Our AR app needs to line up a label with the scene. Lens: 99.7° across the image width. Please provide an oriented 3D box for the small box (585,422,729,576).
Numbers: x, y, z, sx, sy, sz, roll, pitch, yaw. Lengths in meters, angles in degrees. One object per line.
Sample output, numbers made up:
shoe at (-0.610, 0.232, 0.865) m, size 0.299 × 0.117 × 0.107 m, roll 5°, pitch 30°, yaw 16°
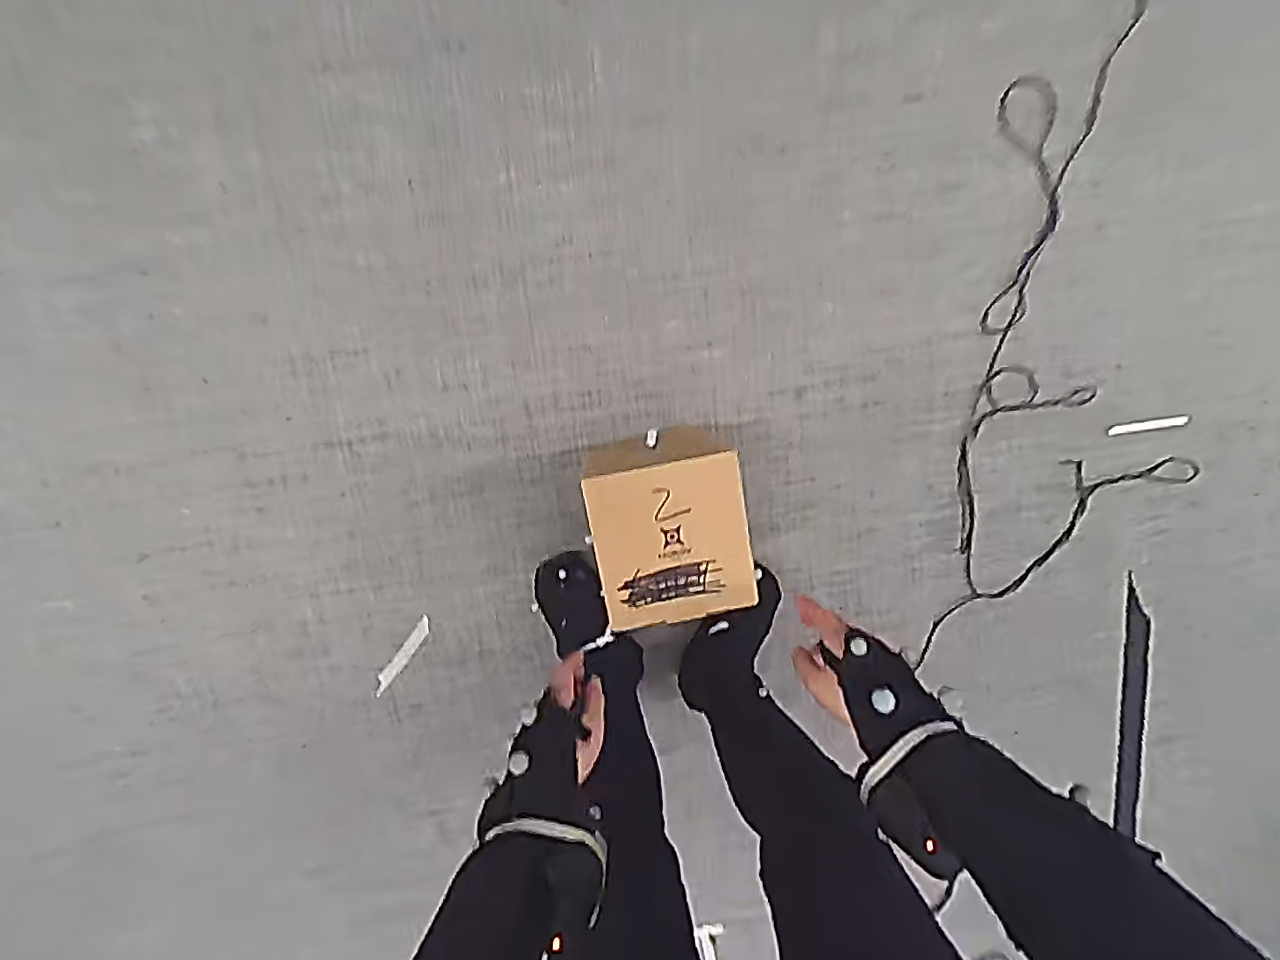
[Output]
small box at (0.018, 0.016, 0.804) m, size 0.168 × 0.176 × 0.179 m, roll -15°, pitch 102°, yaw -1°
